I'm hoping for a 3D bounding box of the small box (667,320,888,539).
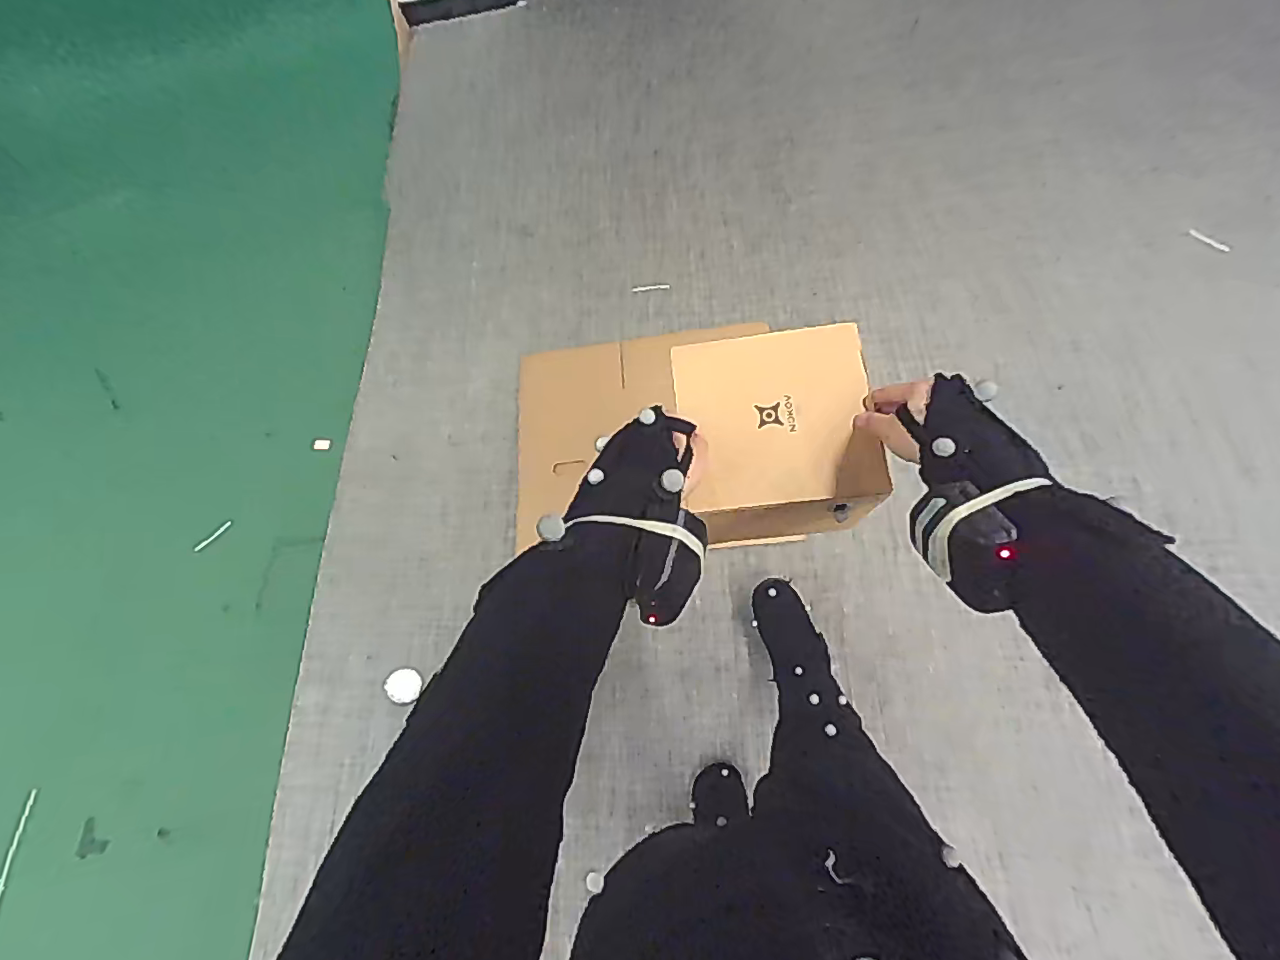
[{"bbox_3d":[0.129,-0.038,0.561,0.179,0.176,0.168,-7,73,6],"label":"small box"}]
